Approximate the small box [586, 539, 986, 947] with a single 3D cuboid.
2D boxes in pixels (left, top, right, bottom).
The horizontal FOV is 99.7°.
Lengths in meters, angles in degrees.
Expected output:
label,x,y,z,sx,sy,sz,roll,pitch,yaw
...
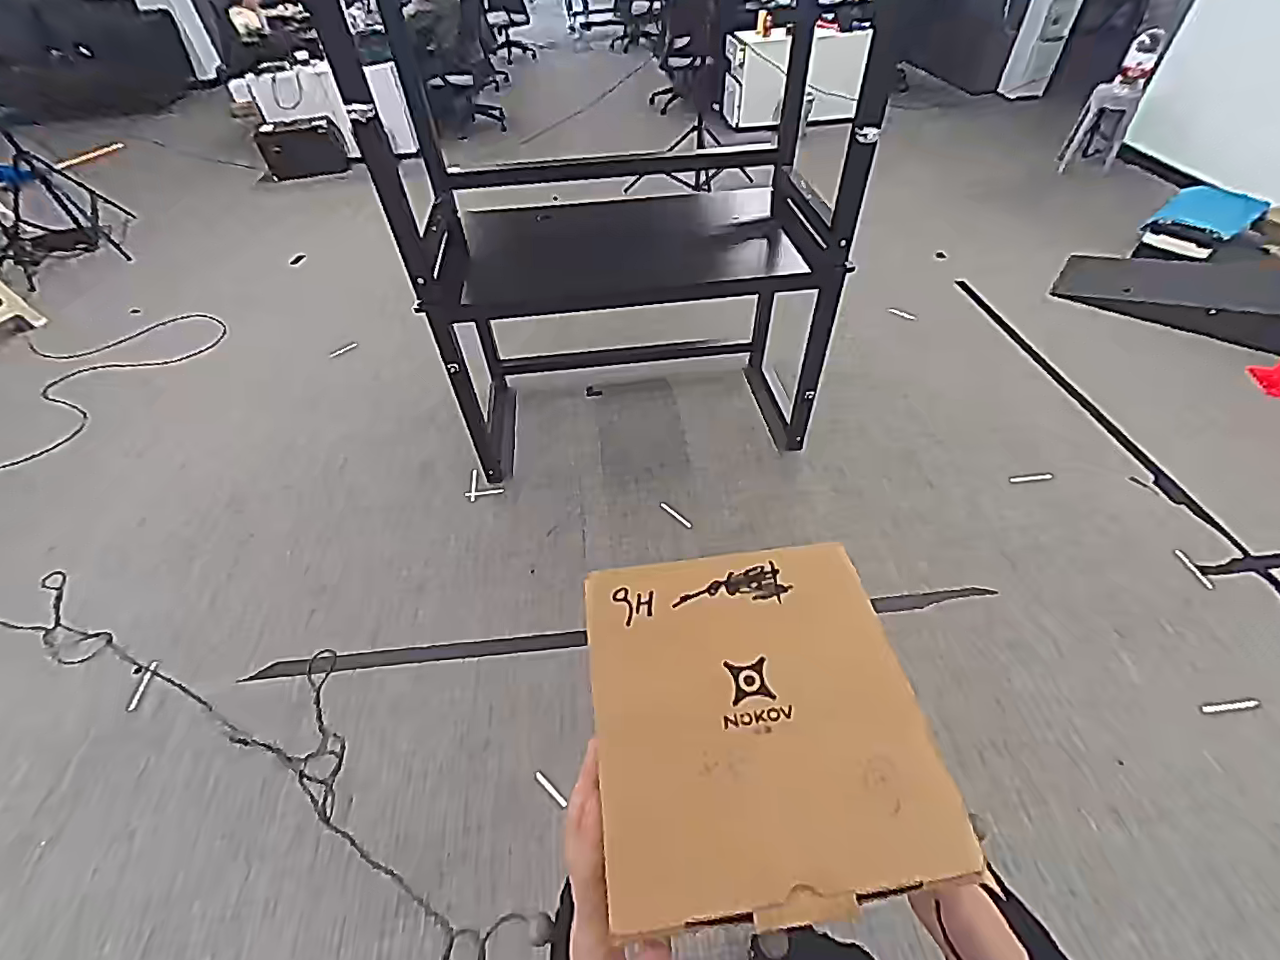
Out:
label,x,y,z,sx,sy,sz,roll,pitch,yaw
small box,0.059,0.162,0.337,0.168,0.176,0.179,-6,51,-4
